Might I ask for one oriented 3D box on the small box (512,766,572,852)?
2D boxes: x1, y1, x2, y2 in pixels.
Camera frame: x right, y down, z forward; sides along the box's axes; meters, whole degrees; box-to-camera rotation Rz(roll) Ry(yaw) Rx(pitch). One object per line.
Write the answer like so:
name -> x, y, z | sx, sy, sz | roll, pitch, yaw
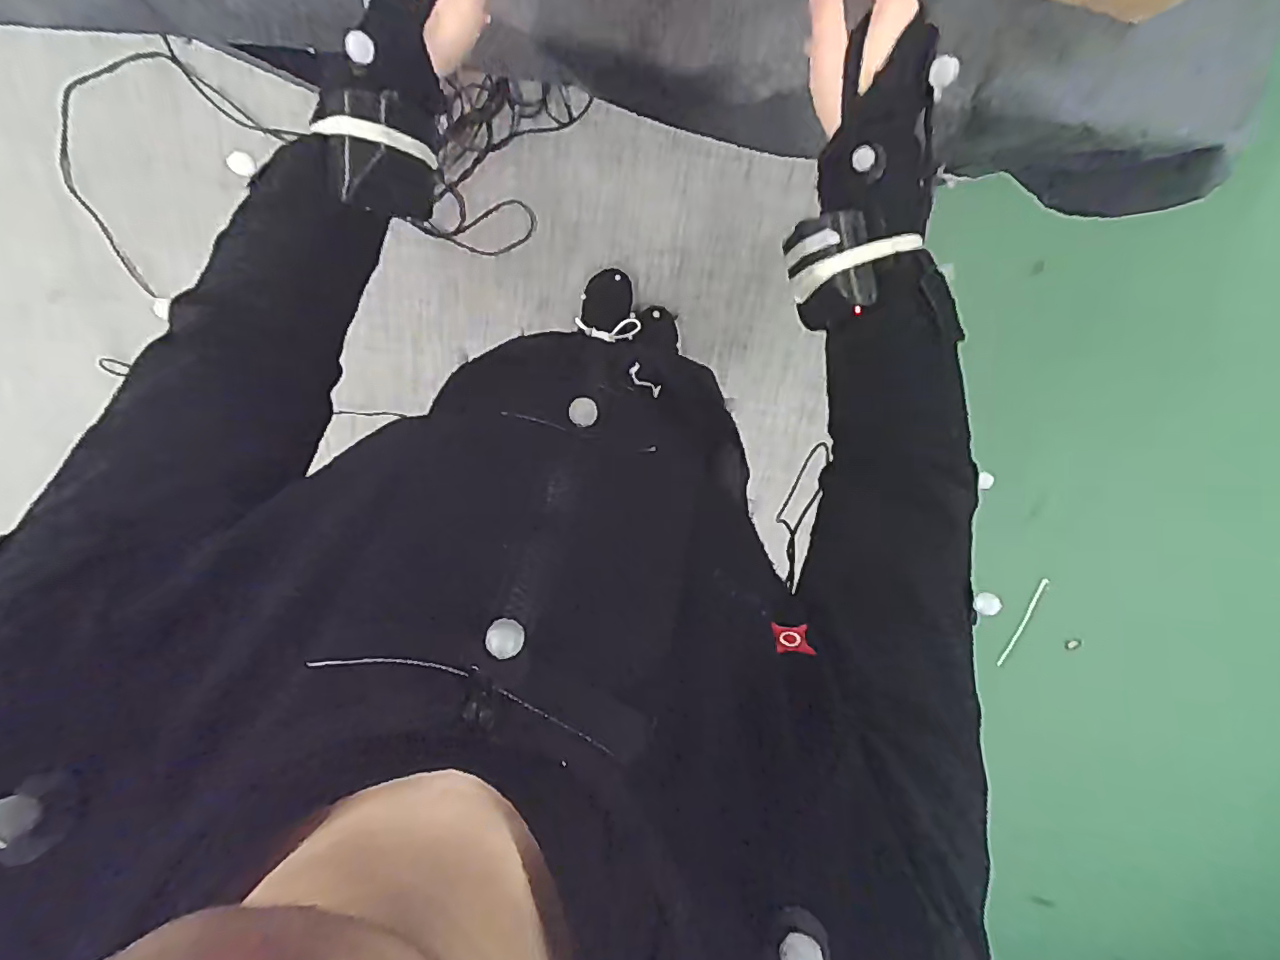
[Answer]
small box -> -0.320, 1.085, 1.785 | 0.168, 0.176, 0.179 | 6, 112, -2
